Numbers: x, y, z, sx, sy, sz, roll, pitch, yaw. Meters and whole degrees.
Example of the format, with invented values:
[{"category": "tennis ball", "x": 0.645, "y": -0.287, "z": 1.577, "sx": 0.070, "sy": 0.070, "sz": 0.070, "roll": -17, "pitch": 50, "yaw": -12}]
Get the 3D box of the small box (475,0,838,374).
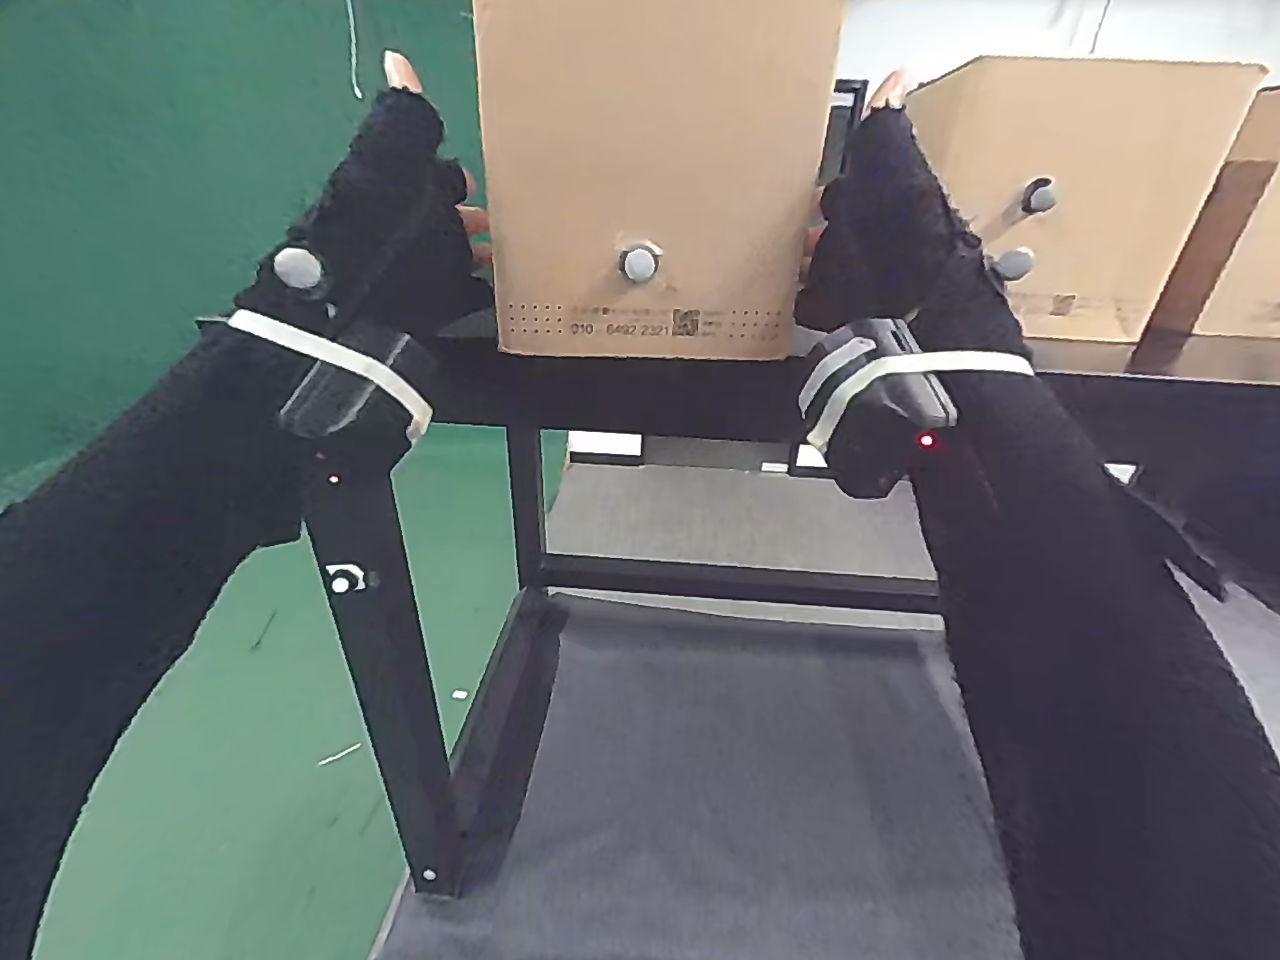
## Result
[{"category": "small box", "x": -0.001, "y": -0.176, "z": 0.347, "sx": 0.168, "sy": 0.176, "sz": 0.179, "roll": 0, "pitch": 29, "yaw": -5}]
